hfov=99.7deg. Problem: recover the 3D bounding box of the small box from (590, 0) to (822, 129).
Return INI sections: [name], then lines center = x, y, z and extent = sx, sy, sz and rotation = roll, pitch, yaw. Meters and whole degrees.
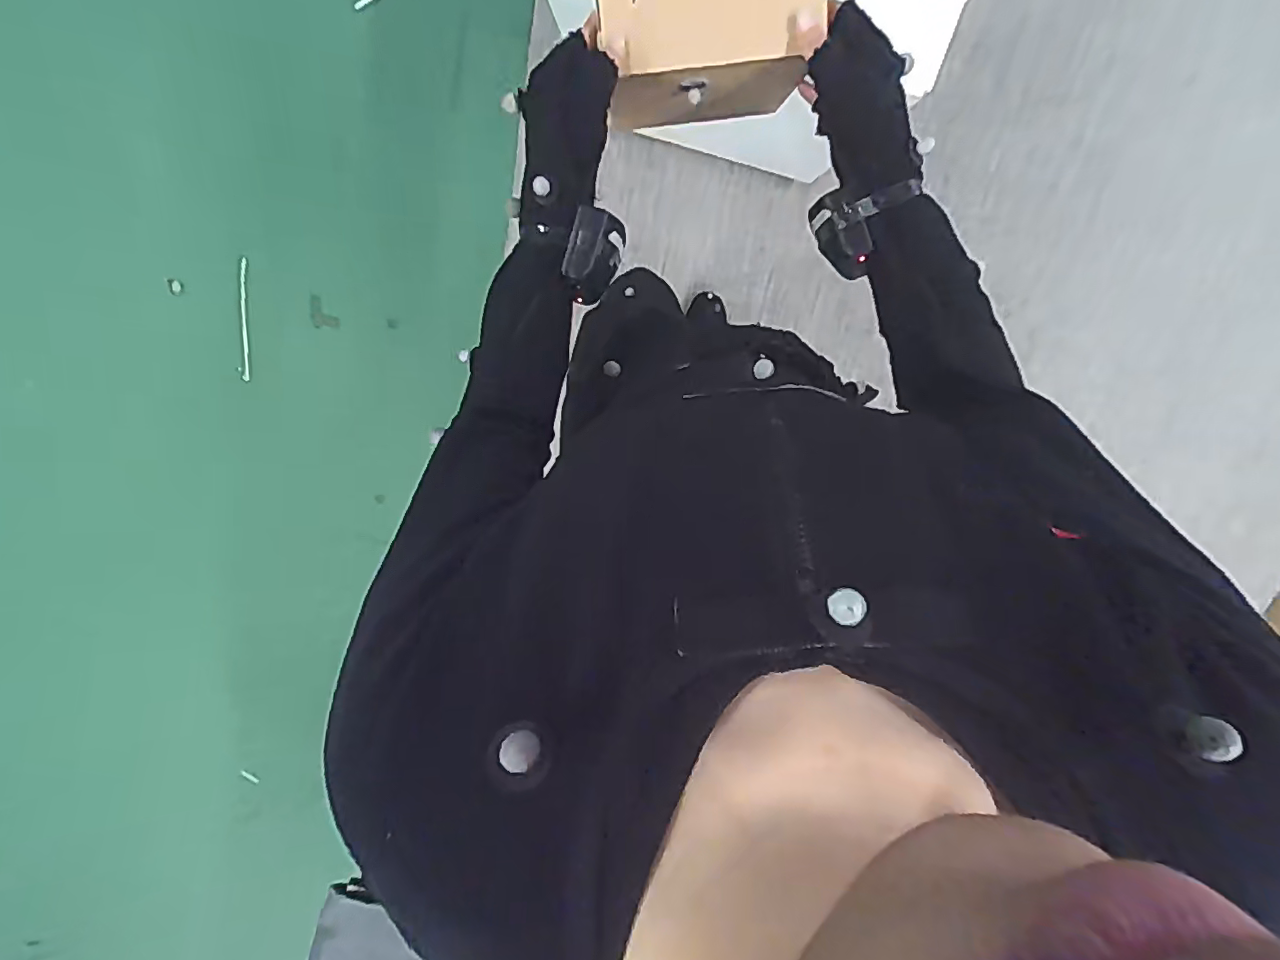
[small box]
center = 0.048, -0.426, 0.470
extent = 0.179, 0.176, 0.168
rotation = -6, 110, 2
